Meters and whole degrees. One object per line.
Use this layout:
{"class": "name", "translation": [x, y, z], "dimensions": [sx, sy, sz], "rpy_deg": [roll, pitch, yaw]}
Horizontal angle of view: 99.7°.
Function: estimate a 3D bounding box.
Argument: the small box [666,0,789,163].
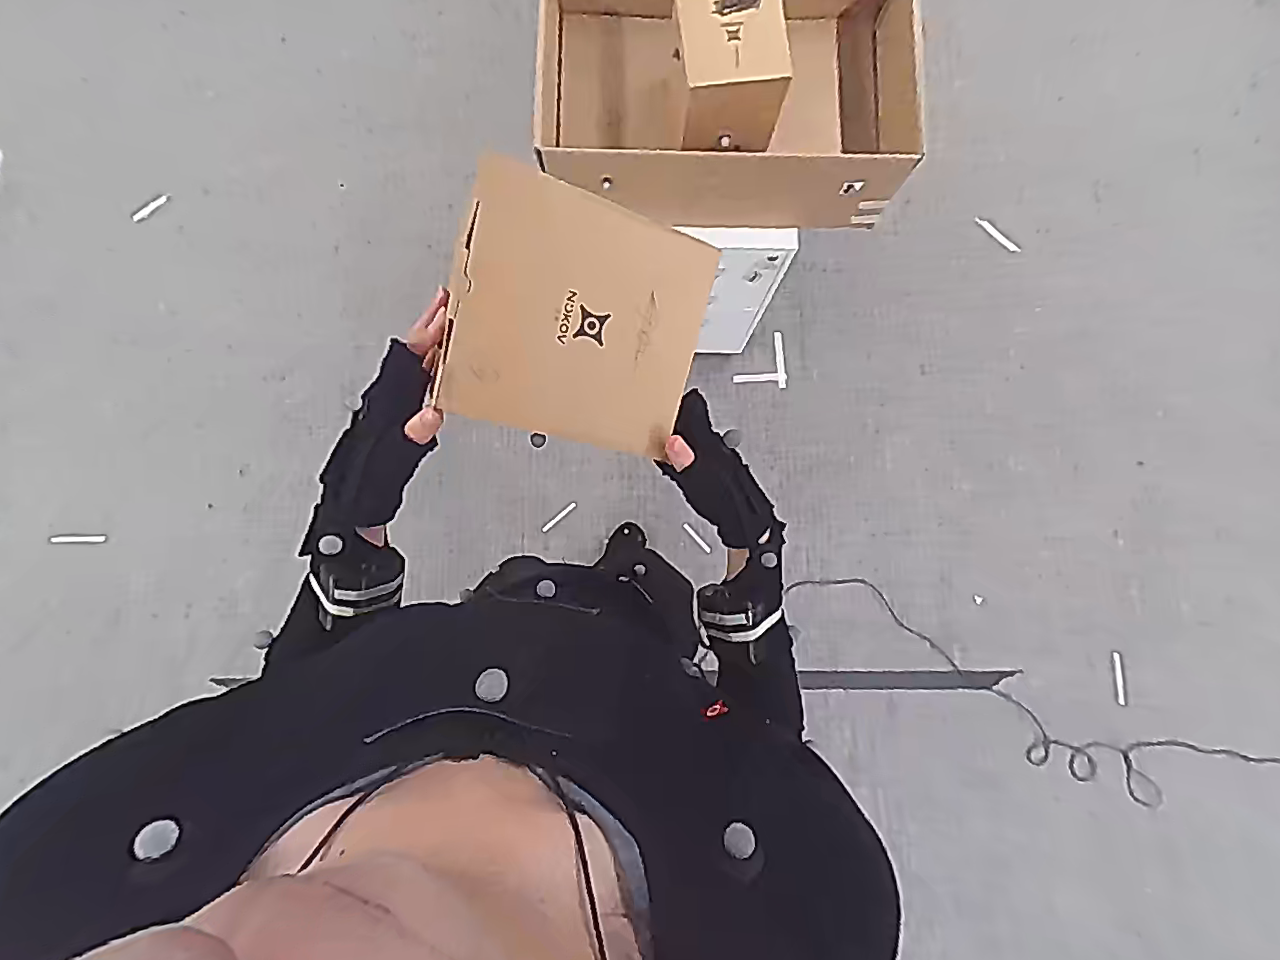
{"class": "small box", "translation": [0.139, -0.684, 0.924], "dimensions": [0.168, 0.176, 0.179], "rpy_deg": [-7, 84, -1]}
